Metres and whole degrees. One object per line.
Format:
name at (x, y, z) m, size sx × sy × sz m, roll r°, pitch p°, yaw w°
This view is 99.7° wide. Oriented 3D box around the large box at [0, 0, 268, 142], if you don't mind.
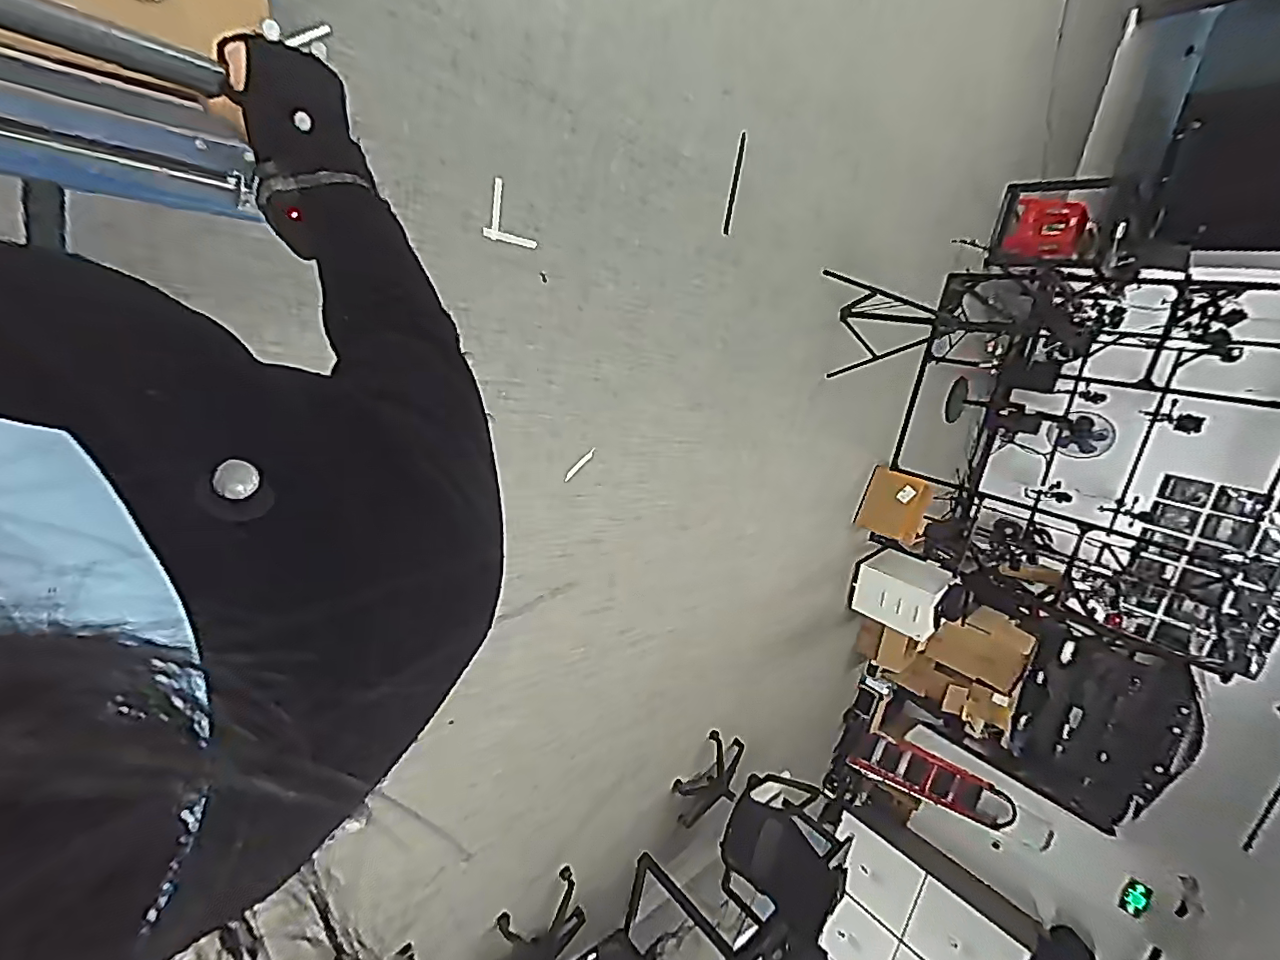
large box at (-0.769, -0.680, 0.698) m, size 0.408 × 0.320 × 0.320 m, roll -12°, pitch 115°, yaw -43°
